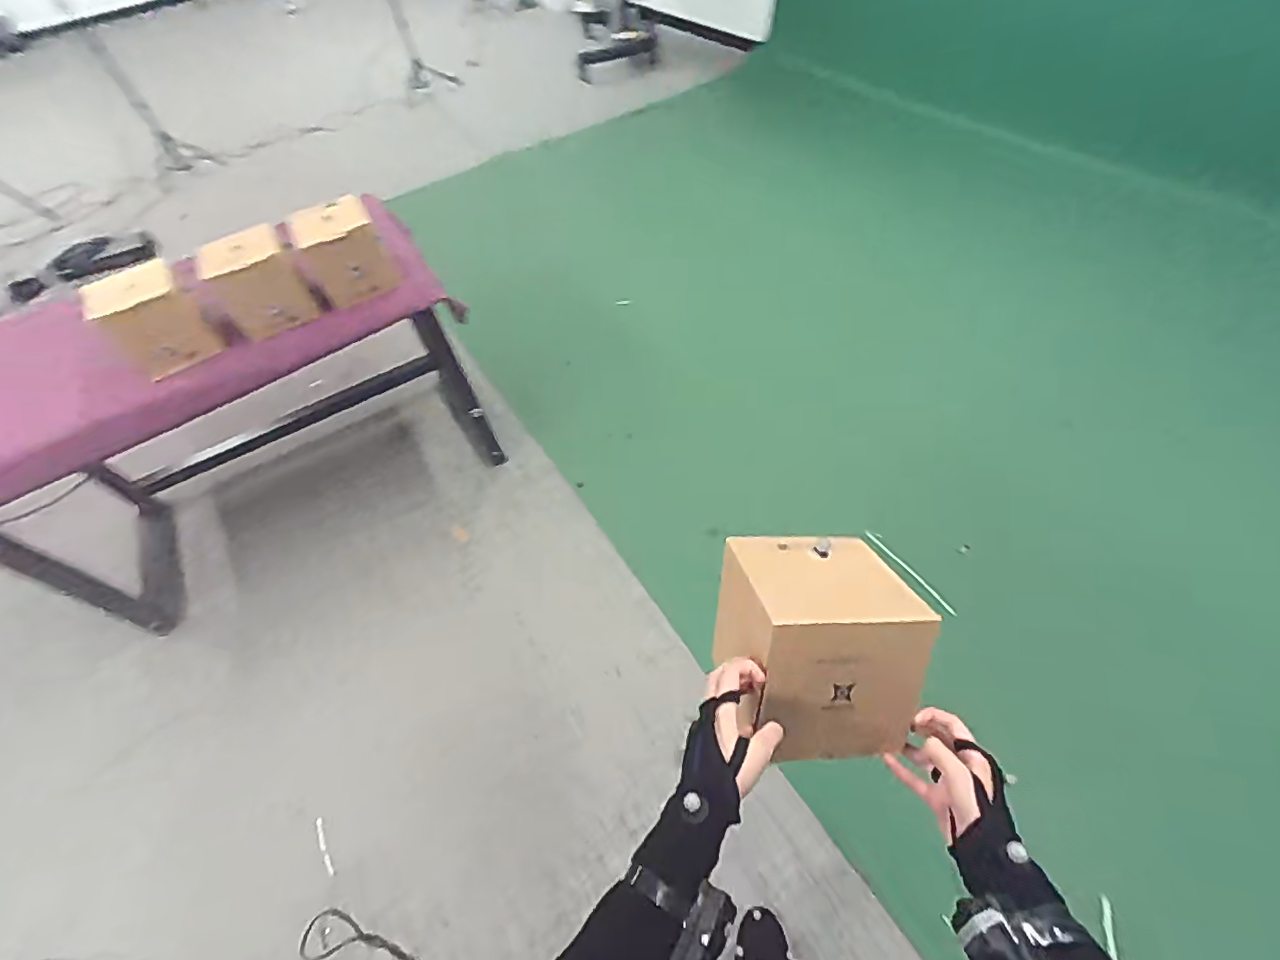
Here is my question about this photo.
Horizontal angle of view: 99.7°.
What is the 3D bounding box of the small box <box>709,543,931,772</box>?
[{"bbox_3d":[0.177,0.186,0.595,0.168,0.179,0.176,0,21,-7],"label":"small box"}]
